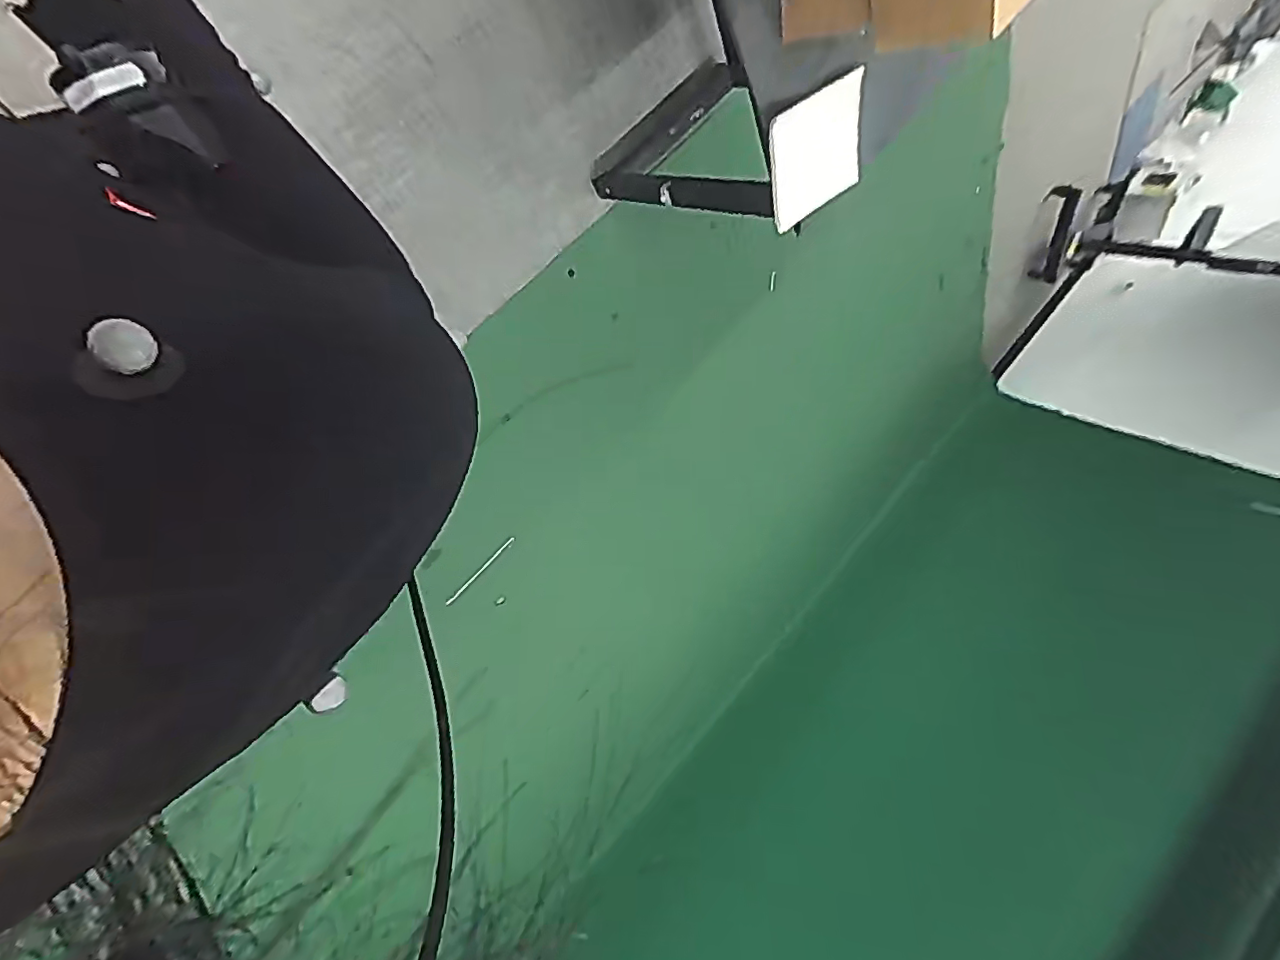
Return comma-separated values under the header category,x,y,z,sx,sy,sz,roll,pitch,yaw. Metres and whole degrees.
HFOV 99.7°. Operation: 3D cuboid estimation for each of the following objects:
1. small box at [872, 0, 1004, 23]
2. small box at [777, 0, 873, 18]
category,x,y,z,sx,sy,sz,roll,pitch,yaw
small box,0.408,-0.723,0.684,0.168,0.176,0.179,-48,137,-9
small box,0.322,-0.811,0.794,0.179,0.176,0.168,-36,134,-21
